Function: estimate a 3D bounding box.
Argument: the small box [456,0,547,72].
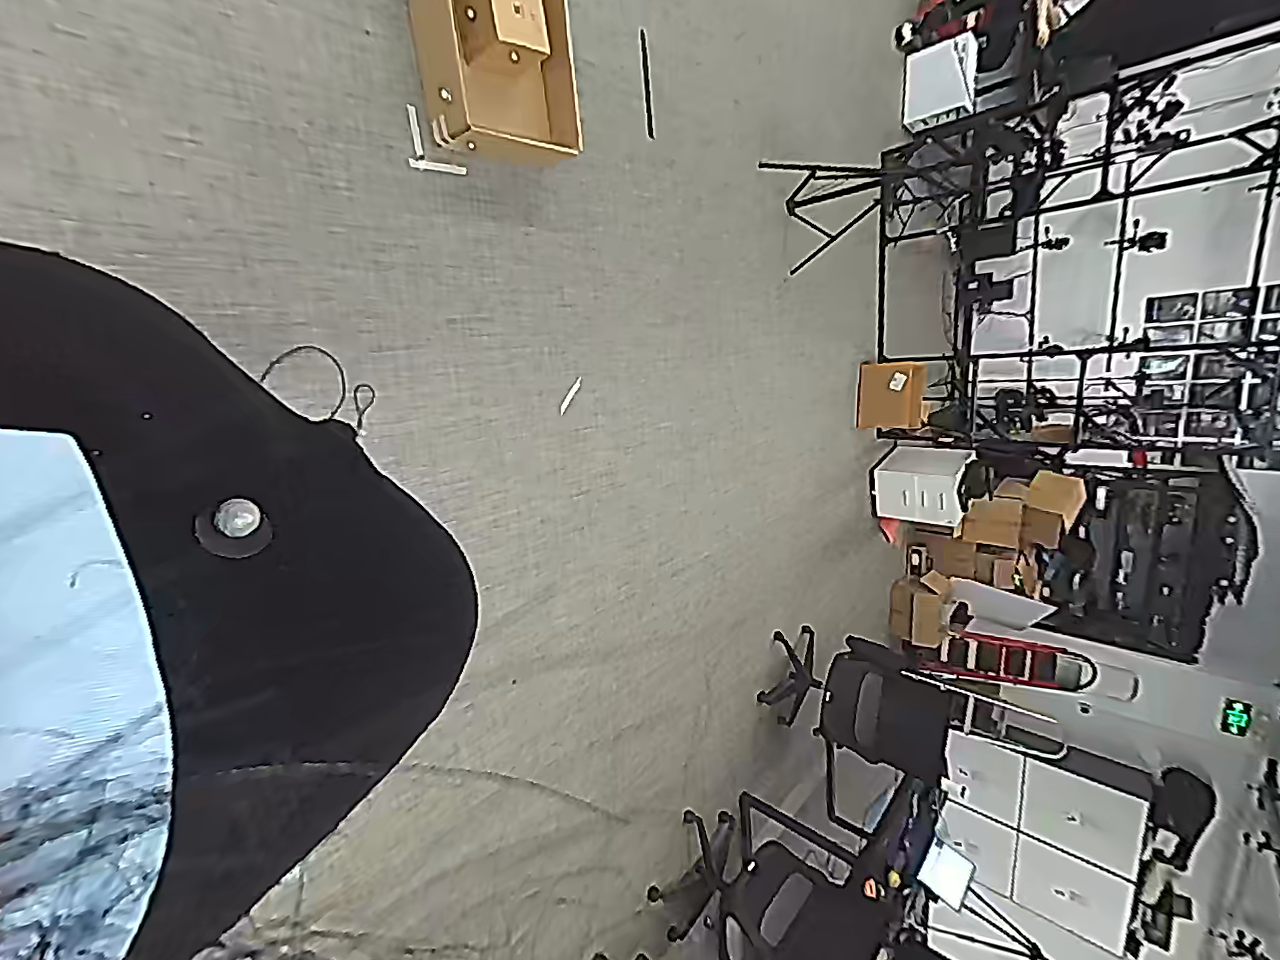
[{"bbox_3d":[-0.385,-1.260,1.485,0.179,0.176,0.168,-24,114,-43],"label":"small box"}]
